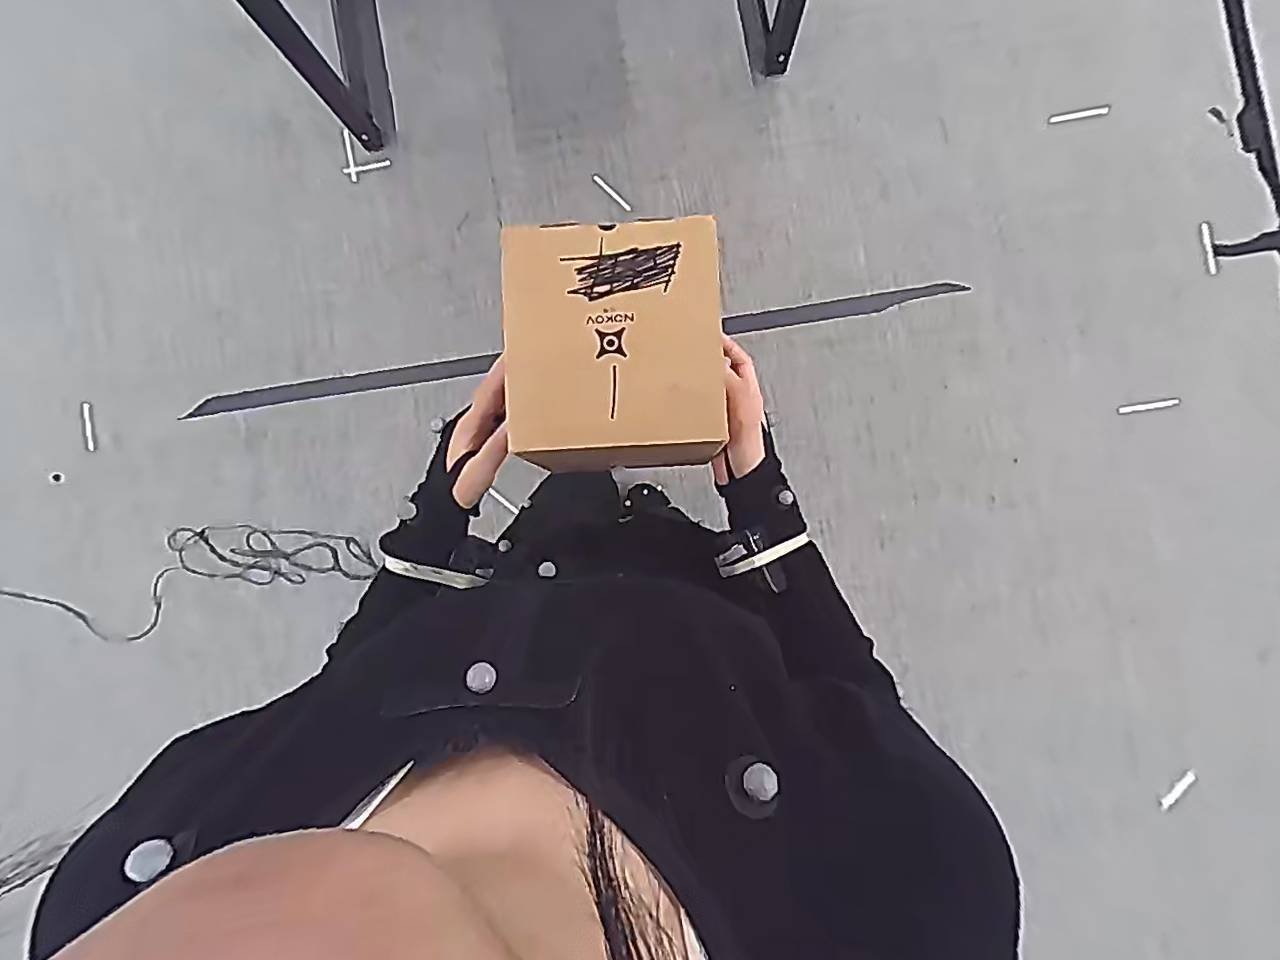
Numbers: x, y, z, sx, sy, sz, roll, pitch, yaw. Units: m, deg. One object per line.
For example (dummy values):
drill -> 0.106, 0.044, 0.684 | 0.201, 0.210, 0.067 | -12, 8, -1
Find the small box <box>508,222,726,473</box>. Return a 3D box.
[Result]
small box -> -0.018, -0.104, 0.493 | 0.168, 0.176, 0.179 | -3, 85, 1

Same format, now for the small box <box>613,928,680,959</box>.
small box -> 0.019, 1.305, 1.396 | 0.179, 0.176, 0.168 | -4, 89, 1
